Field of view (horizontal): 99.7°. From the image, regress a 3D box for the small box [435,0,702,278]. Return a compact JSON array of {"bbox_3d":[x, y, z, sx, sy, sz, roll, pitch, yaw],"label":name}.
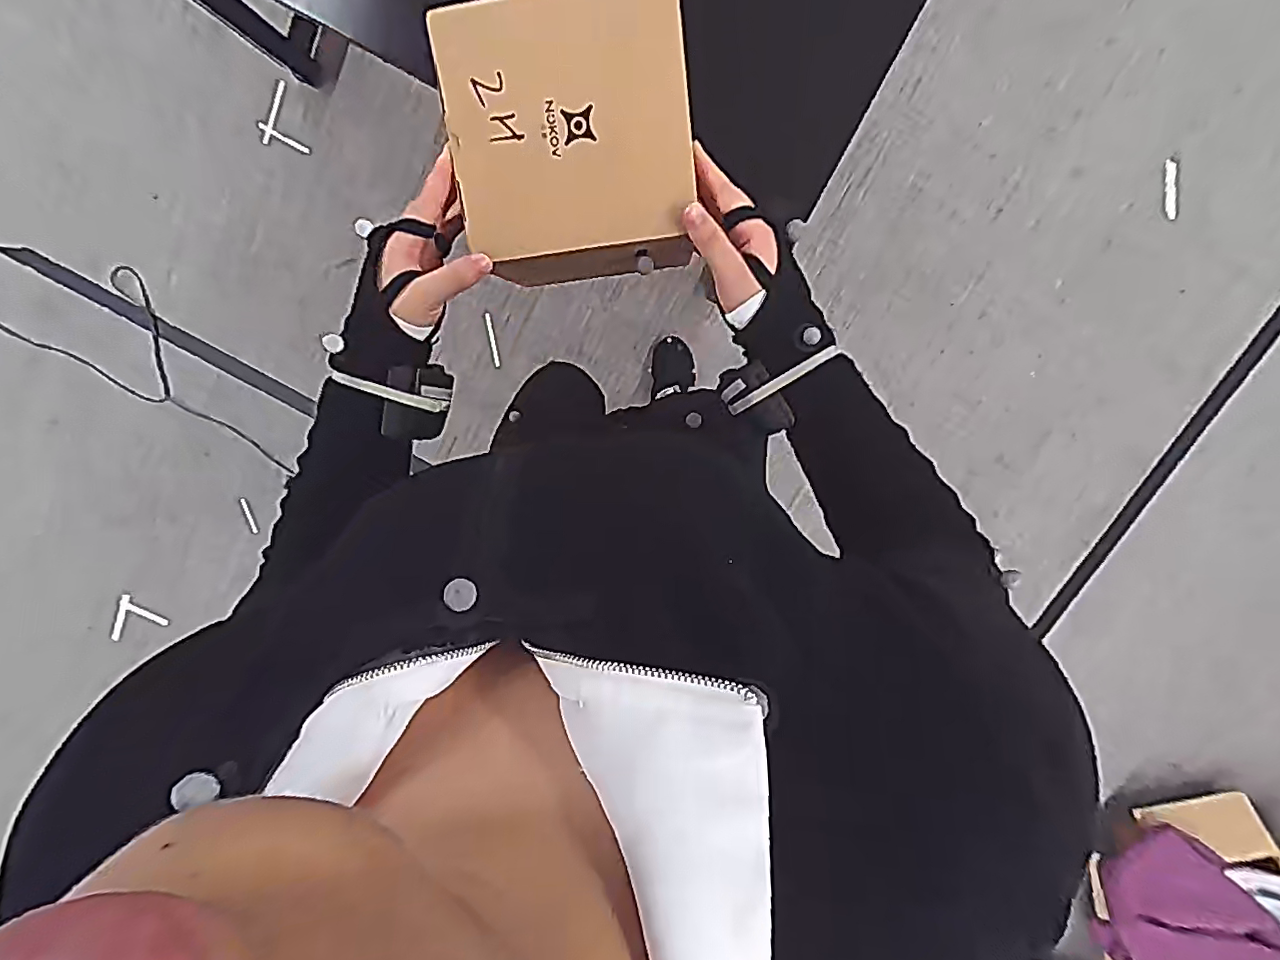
[{"bbox_3d":[-0.046,-0.275,0.464,0.179,0.176,0.168,-5,104,4],"label":"small box"}]
